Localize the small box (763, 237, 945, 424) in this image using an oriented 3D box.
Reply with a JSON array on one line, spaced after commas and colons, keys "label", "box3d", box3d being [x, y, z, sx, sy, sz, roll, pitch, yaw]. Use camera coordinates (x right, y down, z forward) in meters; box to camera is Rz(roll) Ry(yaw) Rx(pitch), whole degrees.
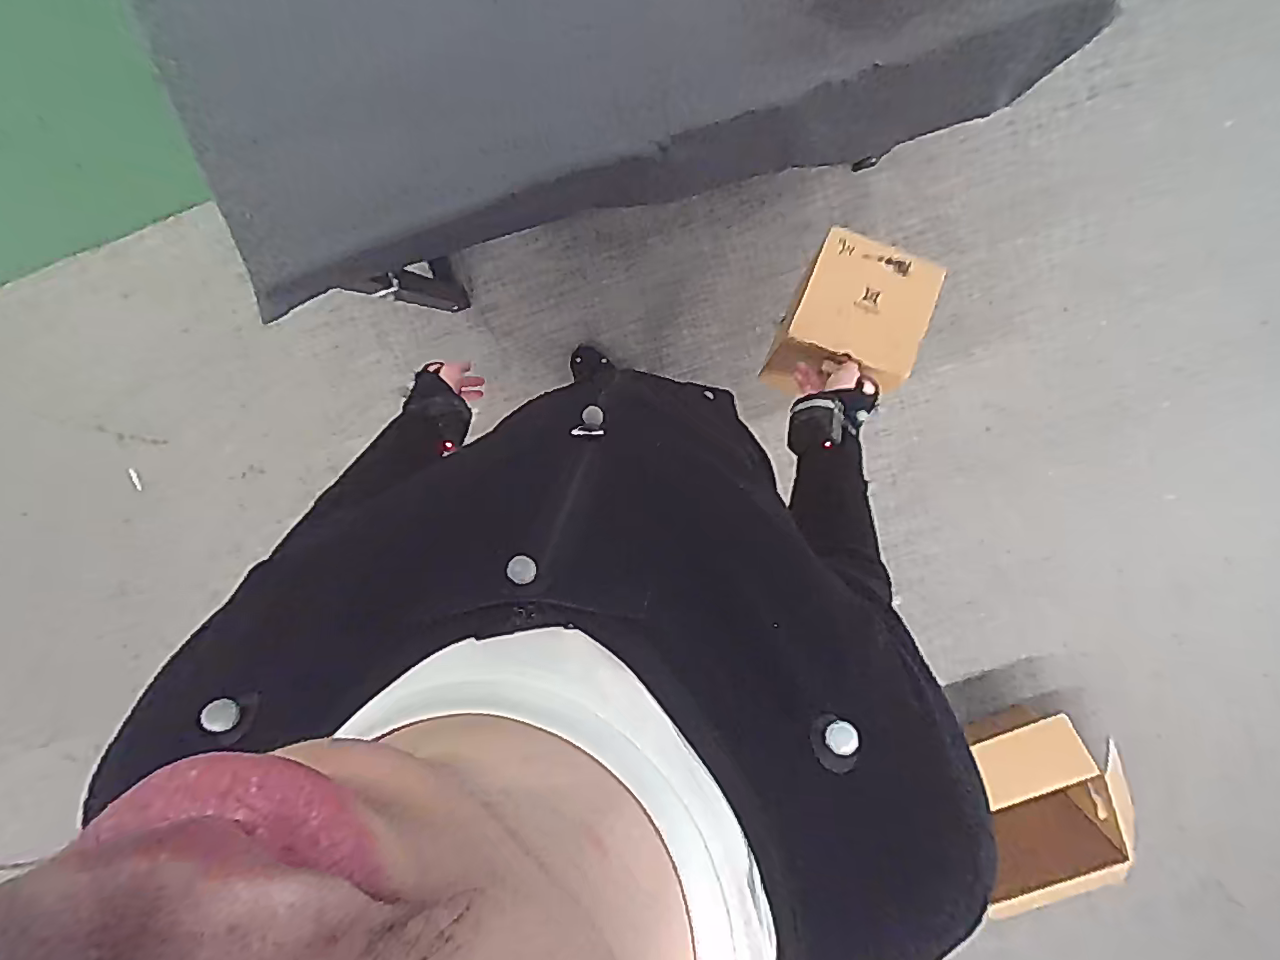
[{"label": "small box", "box3d": [0.296, -0.204, 0.788, 0.168, 0.176, 0.179, 26, 79, 2]}]
